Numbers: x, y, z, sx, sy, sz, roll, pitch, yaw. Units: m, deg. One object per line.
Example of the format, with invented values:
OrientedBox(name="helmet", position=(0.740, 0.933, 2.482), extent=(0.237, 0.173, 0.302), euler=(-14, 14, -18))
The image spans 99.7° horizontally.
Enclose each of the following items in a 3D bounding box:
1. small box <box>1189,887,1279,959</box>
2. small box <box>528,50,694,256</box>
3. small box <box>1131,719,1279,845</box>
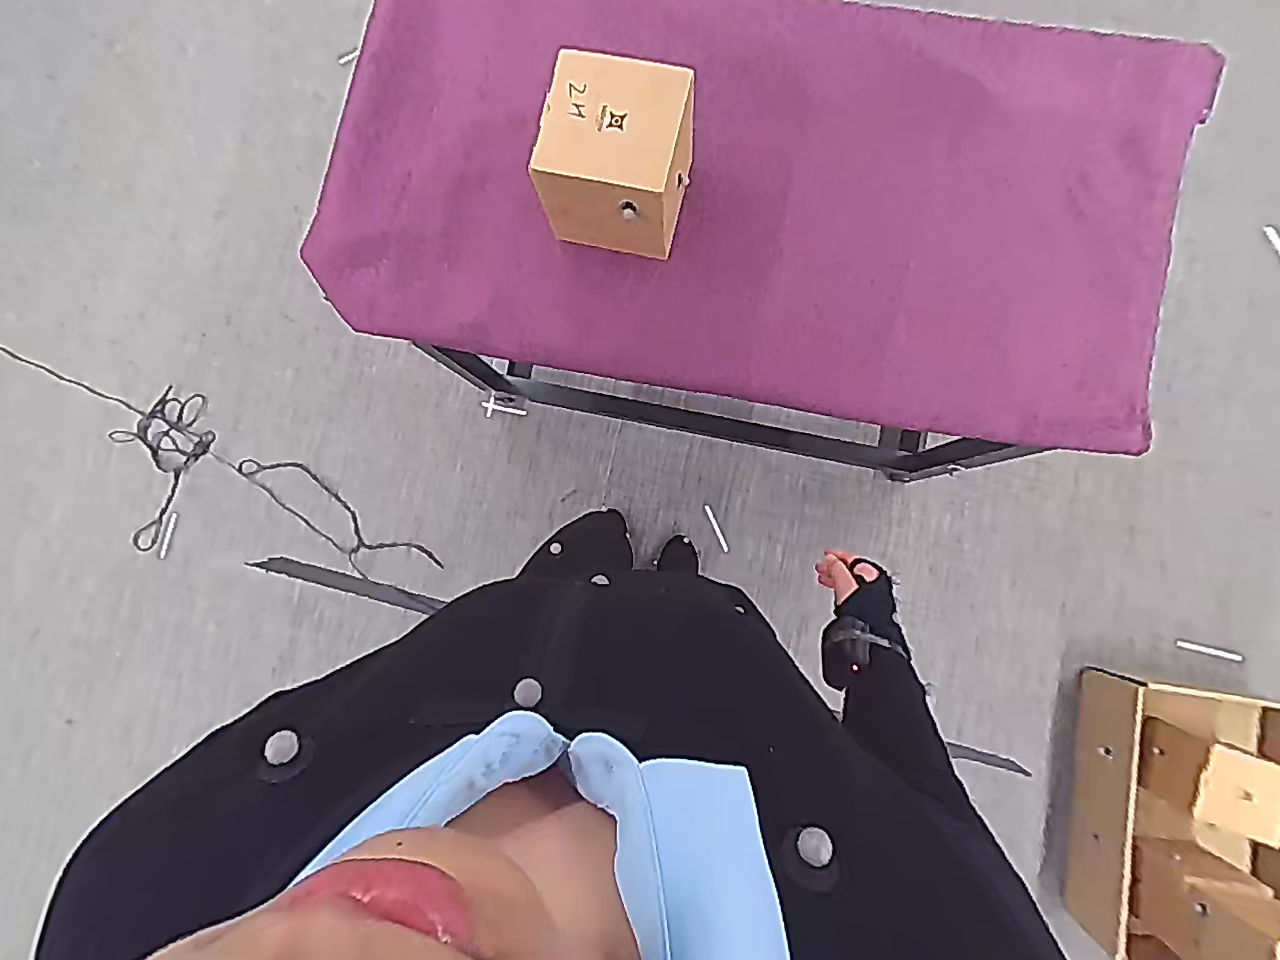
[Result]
OrientedBox(name="small box", position=(1.223, 0.930, 1.039), extent=(0.179, 0.176, 0.168), euler=(8, 86, 4))
OrientedBox(name="small box", position=(-0.030, -0.434, 0.745), extent=(0.179, 0.176, 0.168), euler=(13, 86, 6))
OrientedBox(name="small box", position=(1.287, 0.670, 1.224), extent=(0.179, 0.176, 0.168), euler=(18, 88, 6))
